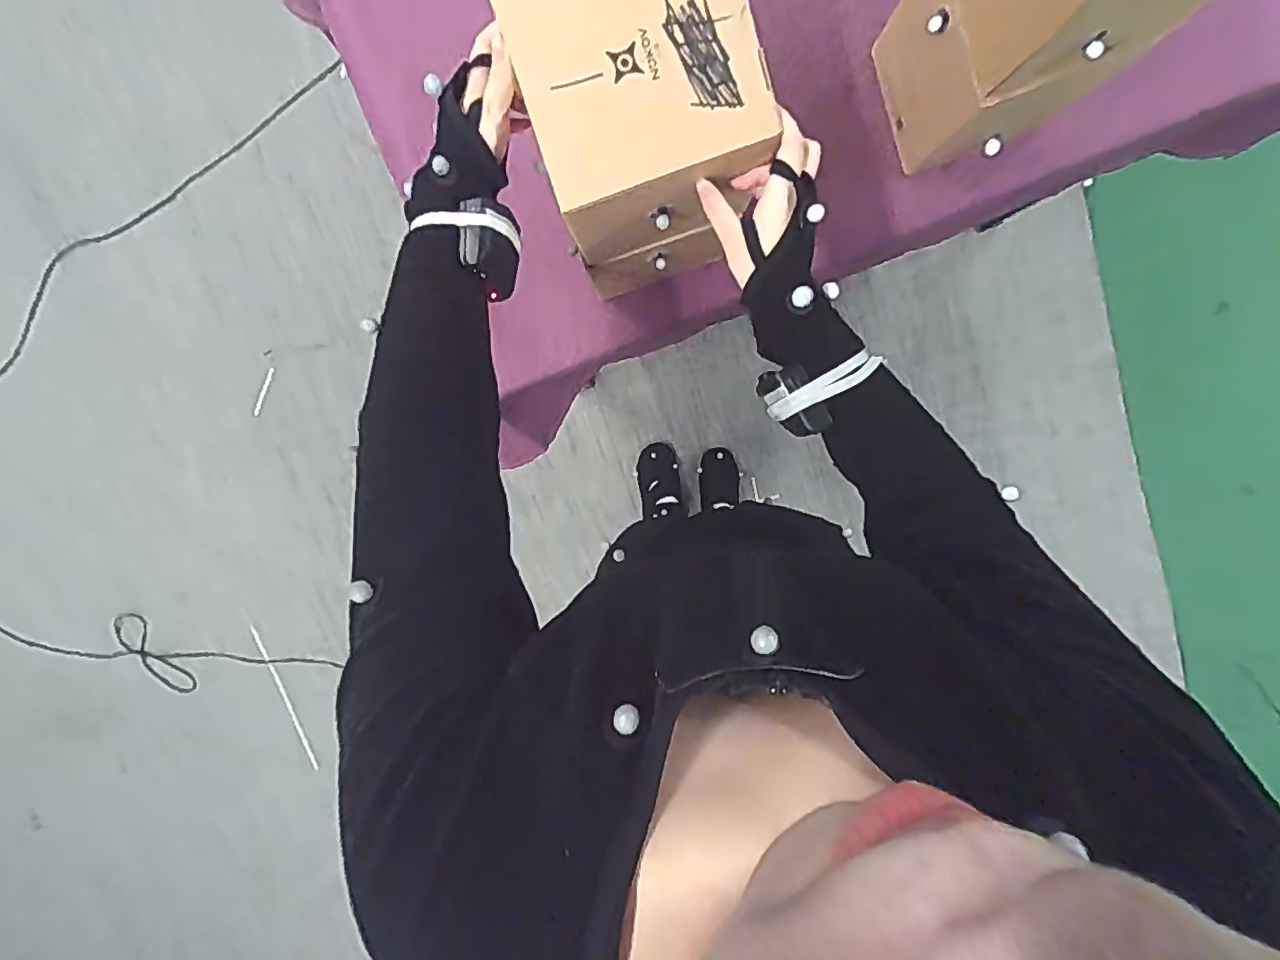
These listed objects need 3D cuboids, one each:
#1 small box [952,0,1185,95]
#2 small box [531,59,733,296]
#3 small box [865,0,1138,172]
[{"bbox_3d":[0.376,-0.474,0.445,0.168,0.176,0.179,-18,98,4],"label":"small box"},{"bbox_3d":[-0.005,-0.334,0.639,0.179,0.176,0.168,-18,97,3],"label":"small box"},{"bbox_3d":[0.386,-0.486,0.608,0.179,0.176,0.168,-19,96,3],"label":"small box"}]
